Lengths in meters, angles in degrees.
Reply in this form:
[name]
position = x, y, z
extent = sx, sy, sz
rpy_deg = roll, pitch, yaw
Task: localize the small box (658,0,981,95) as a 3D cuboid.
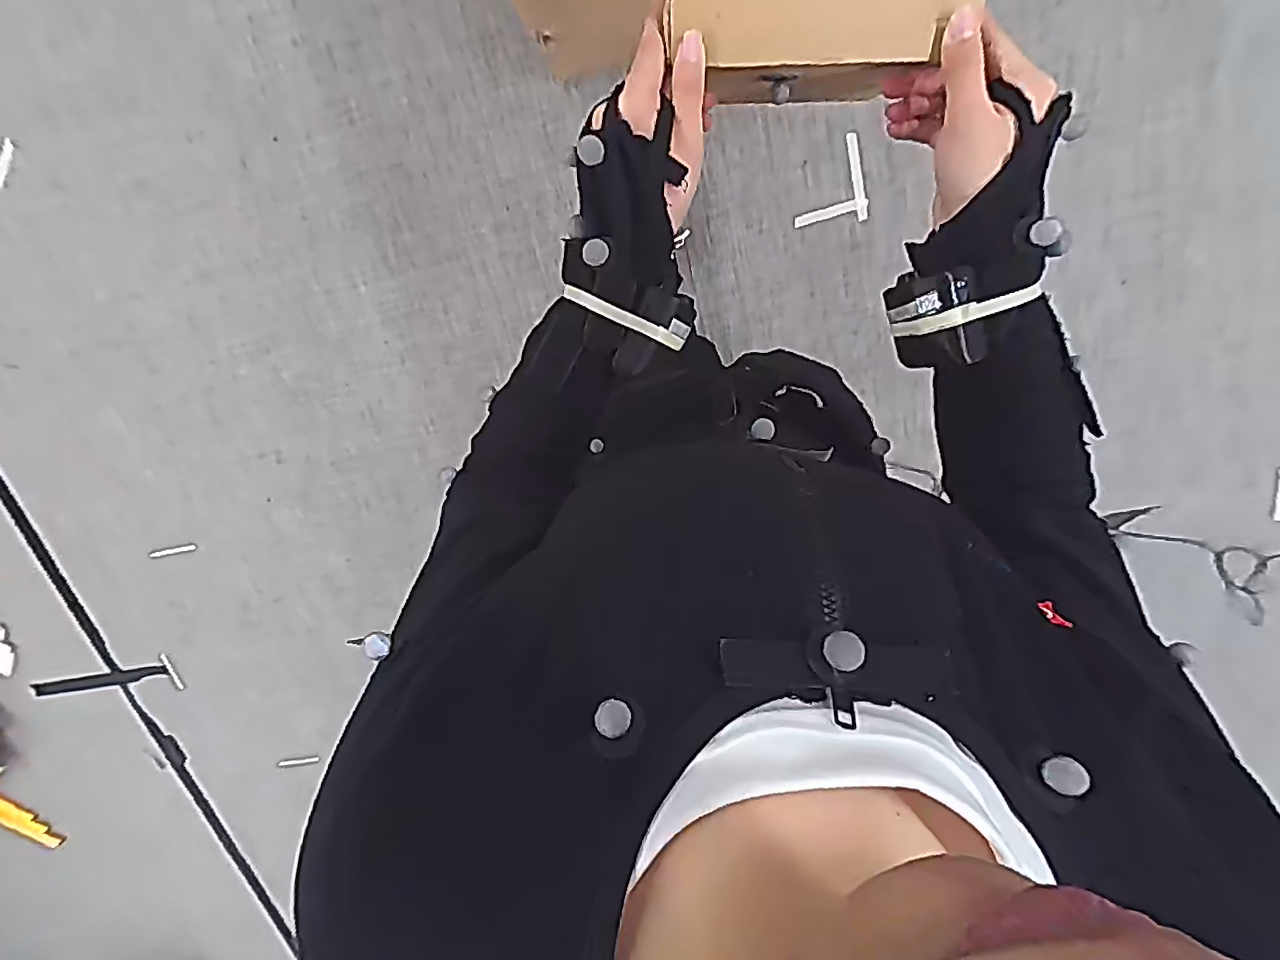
[small box]
position = 0.100, -0.354, 0.338
extent = 0.179, 0.176, 0.168
rpy_deg = -1, 118, 1
